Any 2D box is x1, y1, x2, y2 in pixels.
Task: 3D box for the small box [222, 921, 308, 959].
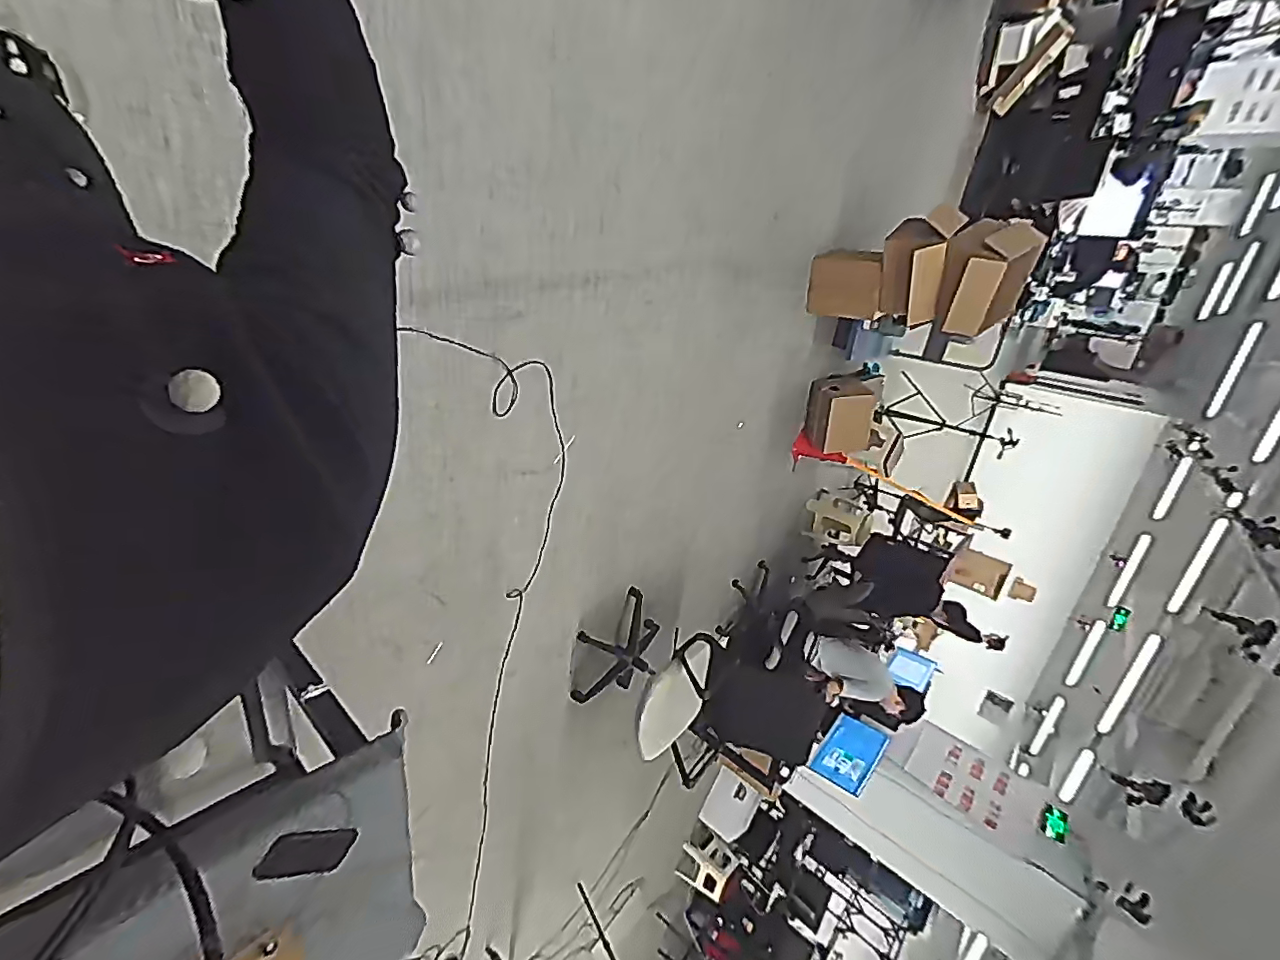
[{"bbox_3d":[-0.627,0.882,0.881,0.168,0.176,0.179,-21,127,-45],"label":"small box"}]
